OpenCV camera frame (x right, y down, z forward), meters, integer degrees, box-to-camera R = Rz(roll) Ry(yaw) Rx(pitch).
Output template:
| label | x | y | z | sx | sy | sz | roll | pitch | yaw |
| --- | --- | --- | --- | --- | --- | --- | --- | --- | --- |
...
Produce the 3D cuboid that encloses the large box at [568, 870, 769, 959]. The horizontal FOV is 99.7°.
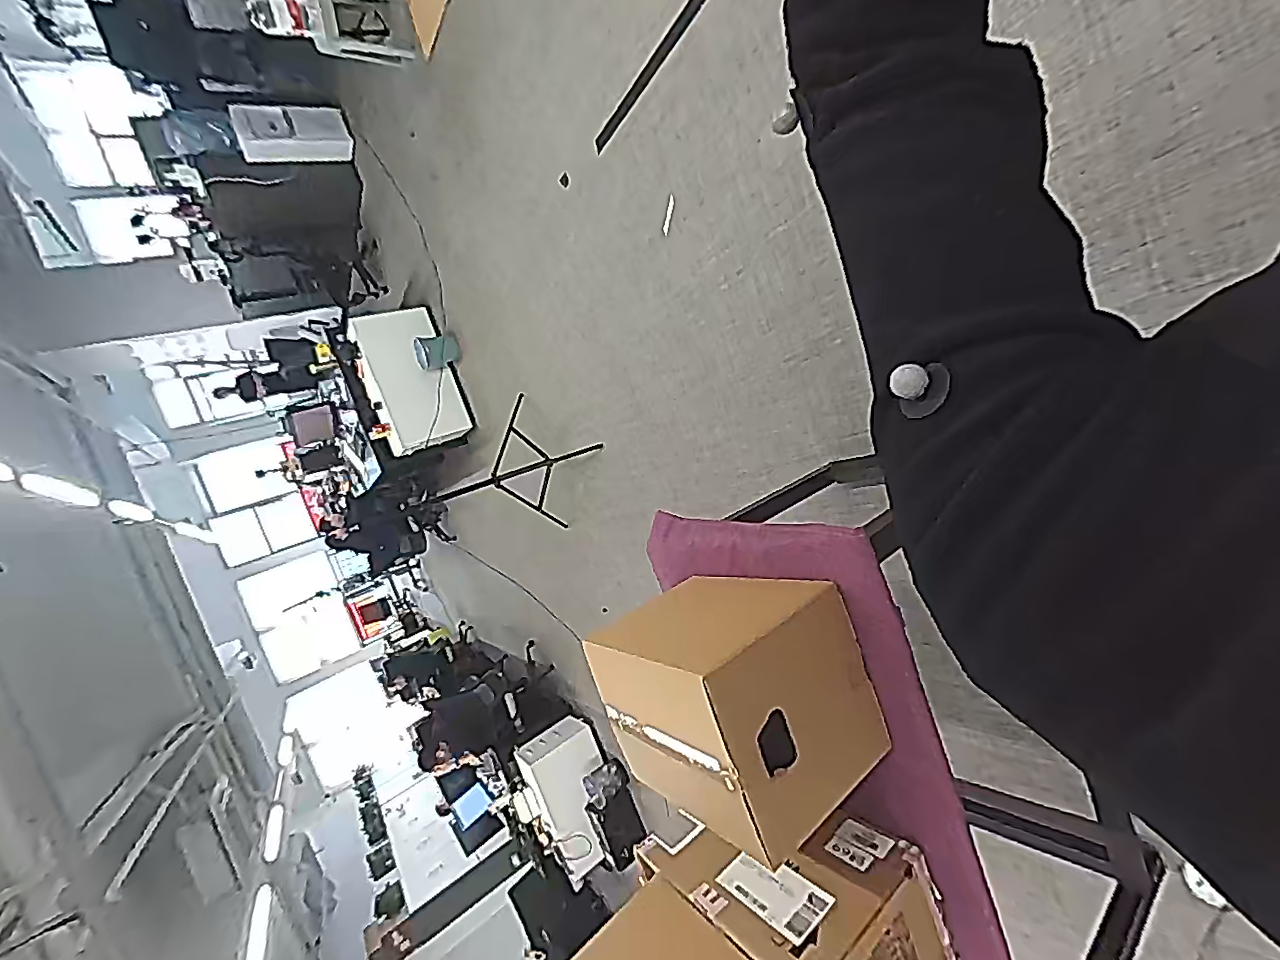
| label | x | y | z | sx | sy | sz | roll | pitch | yaw |
| --- | --- | --- | --- | --- | --- | --- | --- | --- | --- |
| large box | 0.087 | 0.974 | 0.897 | 0.408 | 0.320 | 0.320 | -11 | 104 | 58 |
